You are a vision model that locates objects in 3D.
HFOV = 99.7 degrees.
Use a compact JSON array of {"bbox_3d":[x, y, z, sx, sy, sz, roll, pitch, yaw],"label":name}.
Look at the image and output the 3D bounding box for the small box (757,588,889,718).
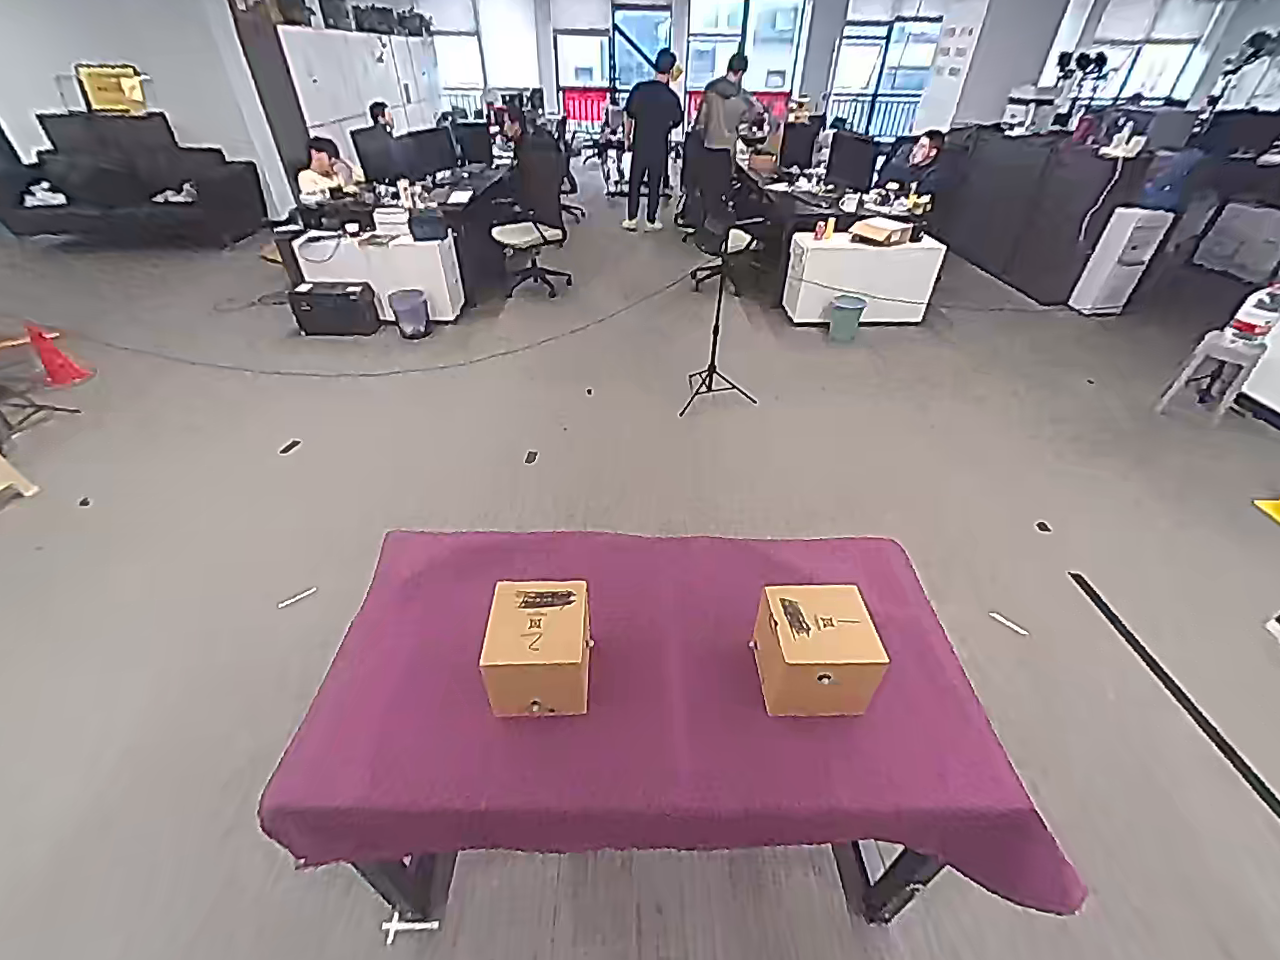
[{"bbox_3d":[0.317,0.315,0.984,0.179,0.176,0.168,0,38,-1],"label":"small box"}]
